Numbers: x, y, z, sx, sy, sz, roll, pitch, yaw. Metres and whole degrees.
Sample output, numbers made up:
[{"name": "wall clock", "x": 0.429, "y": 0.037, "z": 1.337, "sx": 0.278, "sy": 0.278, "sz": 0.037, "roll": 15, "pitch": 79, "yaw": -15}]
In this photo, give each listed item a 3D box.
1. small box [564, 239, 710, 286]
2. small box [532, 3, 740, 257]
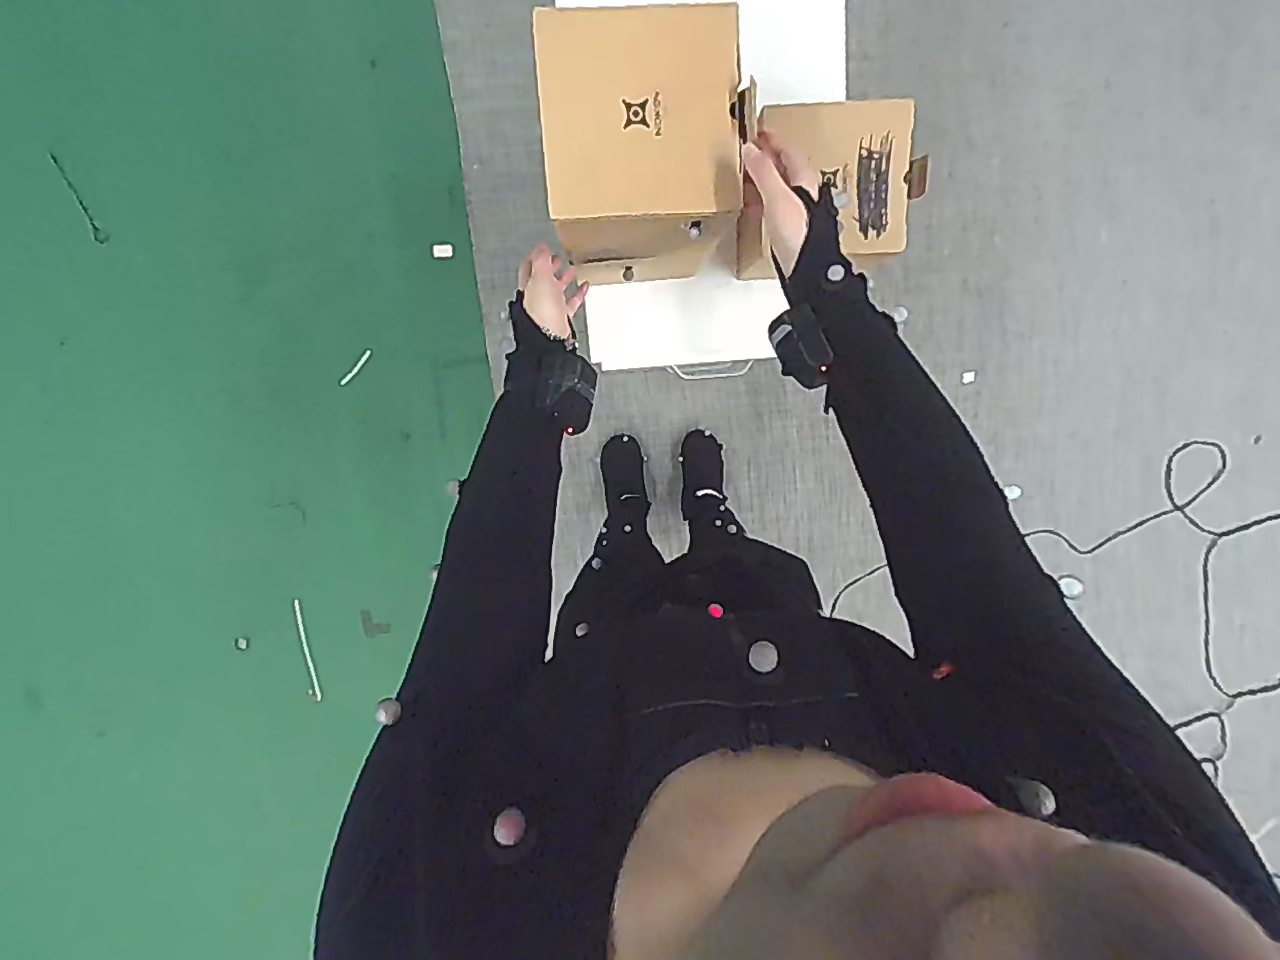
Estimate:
[{"name": "small box", "x": -0.011, "y": -0.359, "z": 0.708, "sx": 0.179, "sy": 0.176, "sz": 0.168, "roll": -6, "pitch": 101, "yaw": -1}, {"name": "small box", "x": -0.005, "y": -0.332, "z": 0.547, "sx": 0.179, "sy": 0.176, "sz": 0.168, "roll": -4, "pitch": 100, "yaw": -4}]
